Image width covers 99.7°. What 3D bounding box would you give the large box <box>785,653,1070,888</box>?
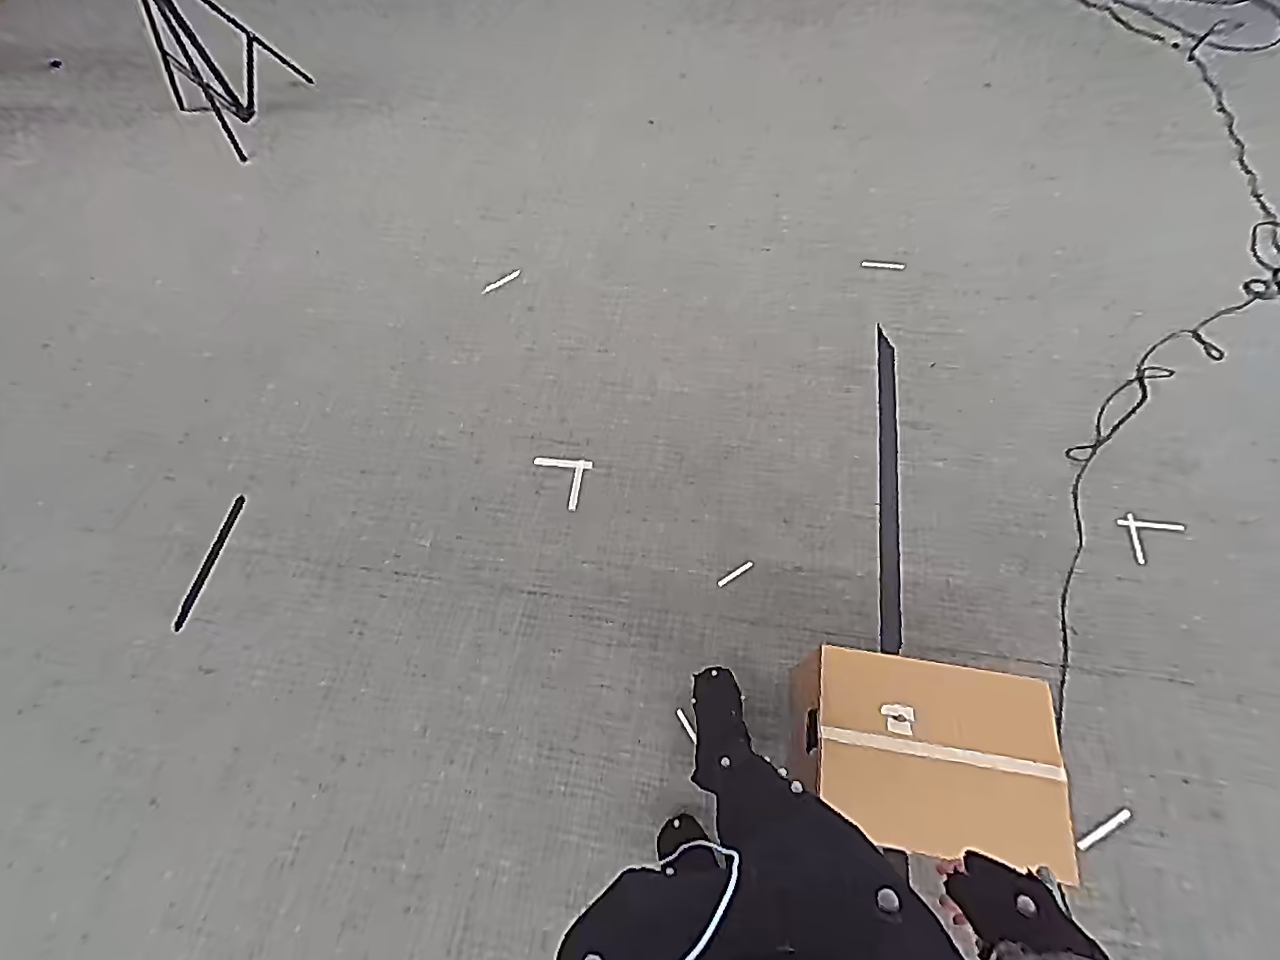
[{"bbox_3d":[0.519,0.551,1.071,0.408,0.320,0.320,7,63,9],"label":"large box"}]
